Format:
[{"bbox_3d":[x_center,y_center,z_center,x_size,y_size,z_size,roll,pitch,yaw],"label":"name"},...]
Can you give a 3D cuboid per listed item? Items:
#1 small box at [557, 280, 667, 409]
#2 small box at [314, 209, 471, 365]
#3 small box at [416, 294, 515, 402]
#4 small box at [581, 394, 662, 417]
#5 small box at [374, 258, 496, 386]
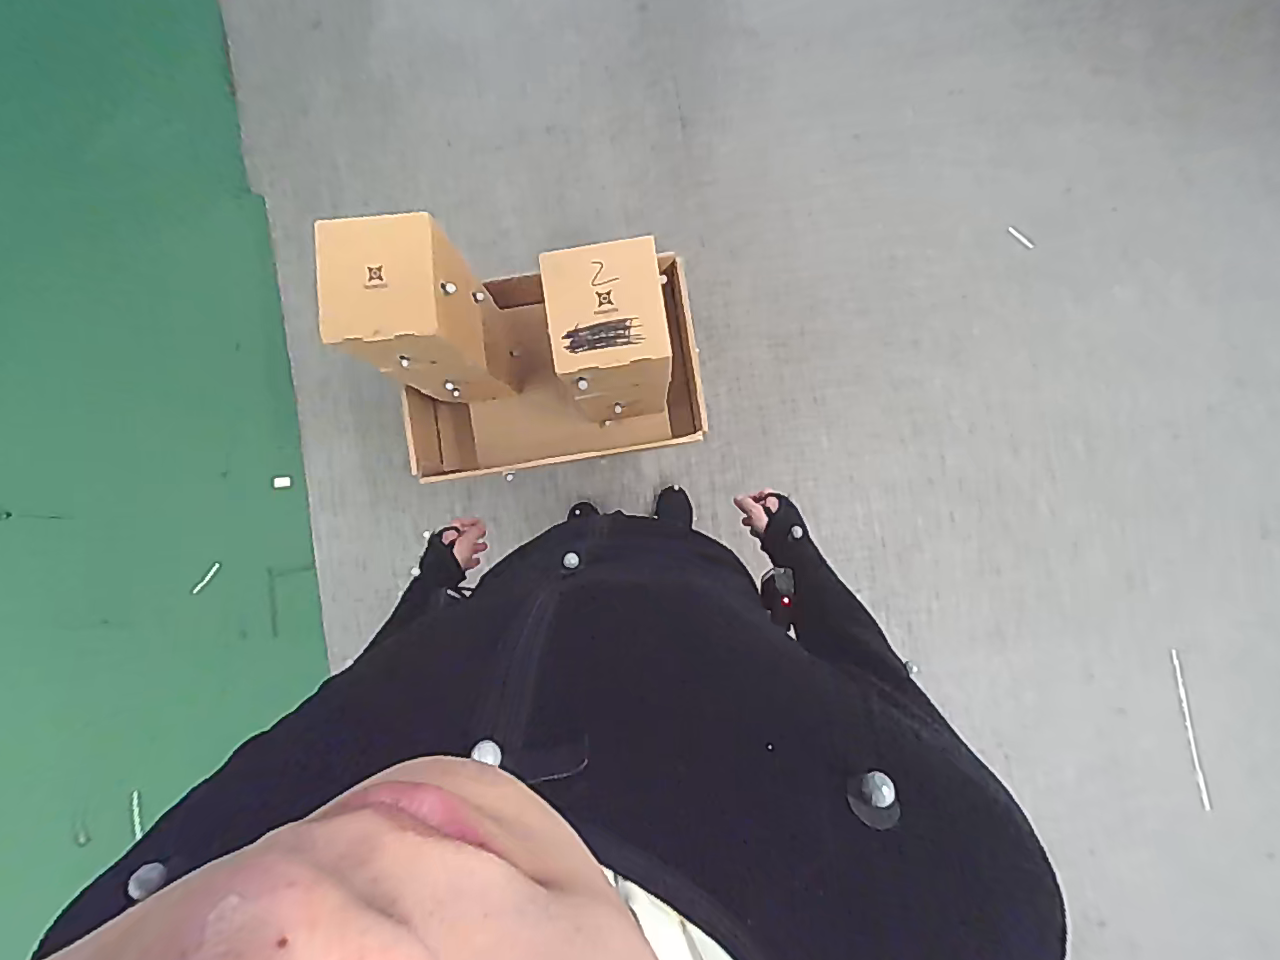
[{"bbox_3d":[-0.048,-0.239,0.992,0.168,0.176,0.179,-10,89,0],"label":"small box"},{"bbox_3d":[-0.370,-0.287,0.833,0.168,0.176,0.179,-4,89,0],"label":"small box"},{"bbox_3d":[-0.373,-0.276,1.158,0.168,0.176,0.179,-7,88,0],"label":"small box"},{"bbox_3d":[-0.046,-0.237,1.154,0.168,0.176,0.179,-9,88,0],"label":"small box"},{"bbox_3d":[-0.372,-0.282,0.994,0.168,0.176,0.179,-5,89,1],"label":"small box"}]
